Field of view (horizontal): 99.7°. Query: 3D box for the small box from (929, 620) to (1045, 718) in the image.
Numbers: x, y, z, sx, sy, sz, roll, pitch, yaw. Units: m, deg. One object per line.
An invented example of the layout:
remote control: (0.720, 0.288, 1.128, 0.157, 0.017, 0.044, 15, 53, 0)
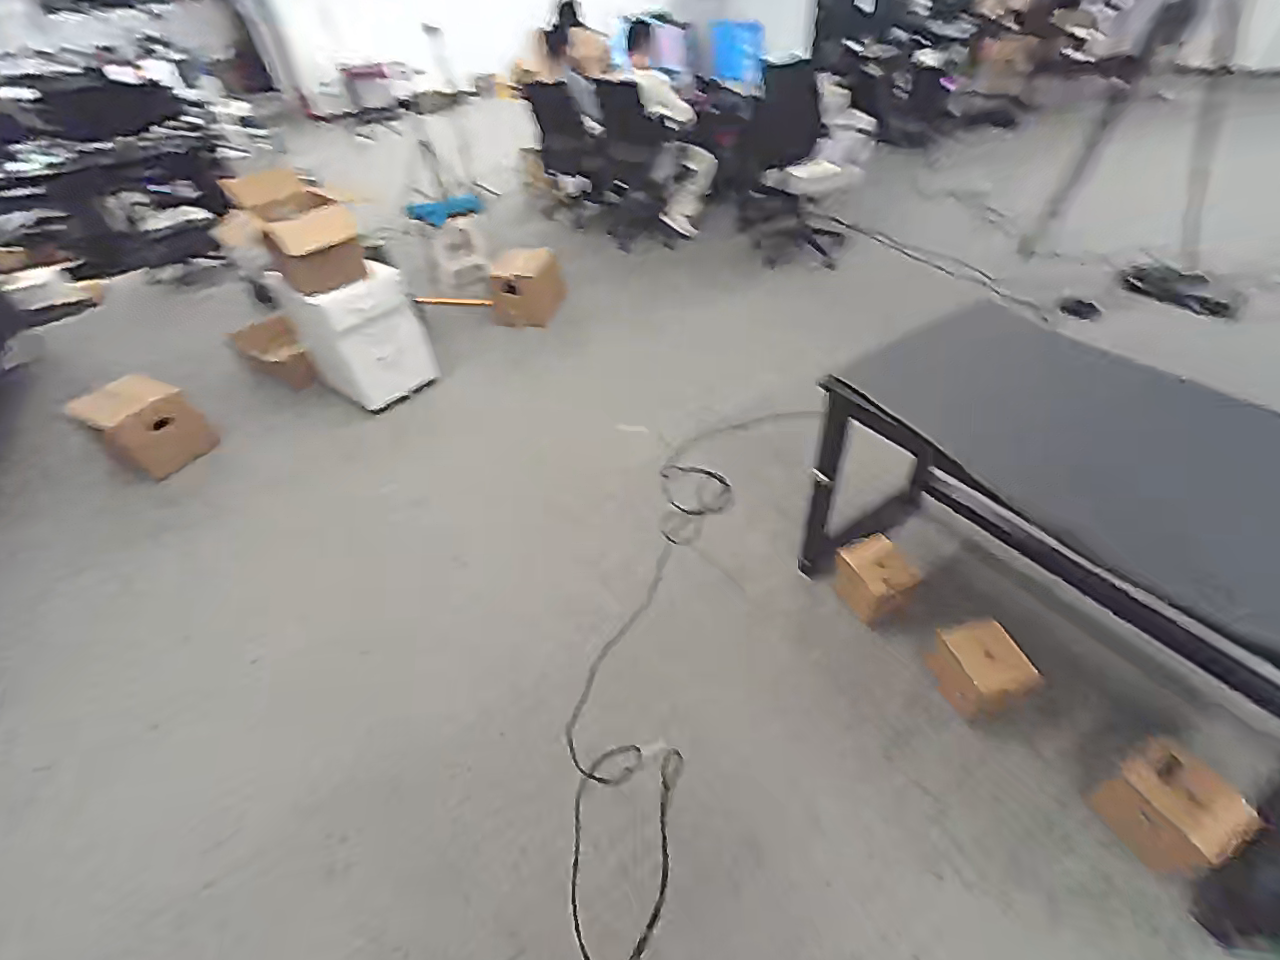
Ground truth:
small box: (0.898, 0.503, 1.418, 0.168, 0.176, 0.179, -11, 41, -5)

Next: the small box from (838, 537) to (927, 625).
small box: (0.728, 0.309, 1.651, 0.168, 0.176, 0.179, -18, 43, -11)

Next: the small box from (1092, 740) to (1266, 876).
small box: (1.142, 0.707, 1.165, 0.168, 0.176, 0.179, -22, 46, -15)
